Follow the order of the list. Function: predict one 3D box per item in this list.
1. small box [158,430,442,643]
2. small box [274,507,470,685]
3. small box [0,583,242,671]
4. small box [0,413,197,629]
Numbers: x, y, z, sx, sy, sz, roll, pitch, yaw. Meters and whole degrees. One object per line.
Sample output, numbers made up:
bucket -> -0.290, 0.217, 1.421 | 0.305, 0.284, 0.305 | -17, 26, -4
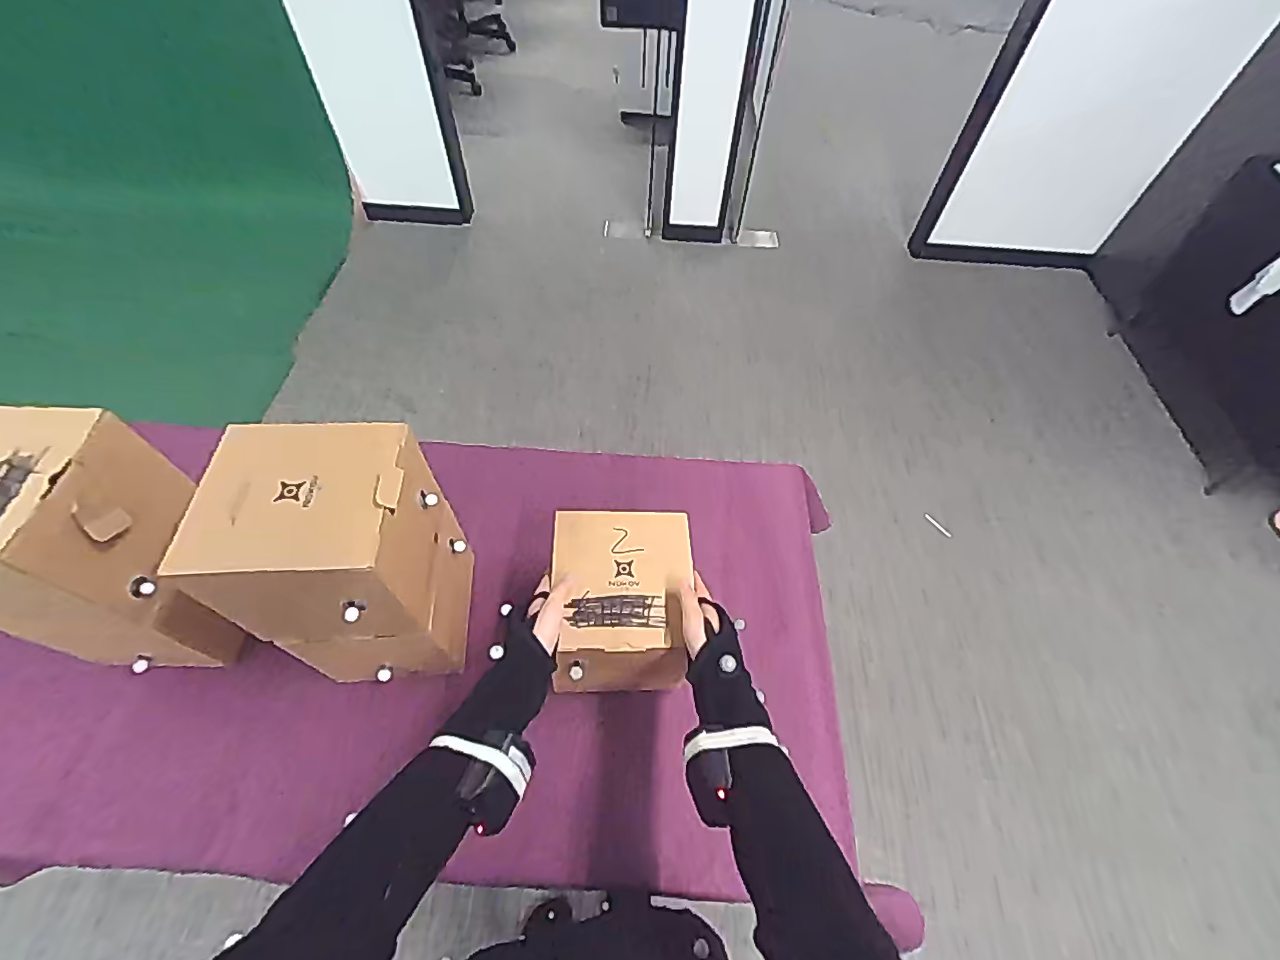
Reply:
small box -> -0.323, 0.064, 0.567 | 0.179, 0.176, 0.168 | -1, 55, -3
small box -> -0.327, 0.153, 0.704 | 0.168, 0.176, 0.179 | -3, 57, -4
small box -> -0.626, 0.140, 0.696 | 0.179, 0.176, 0.168 | 2, 55, -2
small box -> -0.618, 0.048, 0.560 | 0.179, 0.176, 0.168 | 2, 56, -1
